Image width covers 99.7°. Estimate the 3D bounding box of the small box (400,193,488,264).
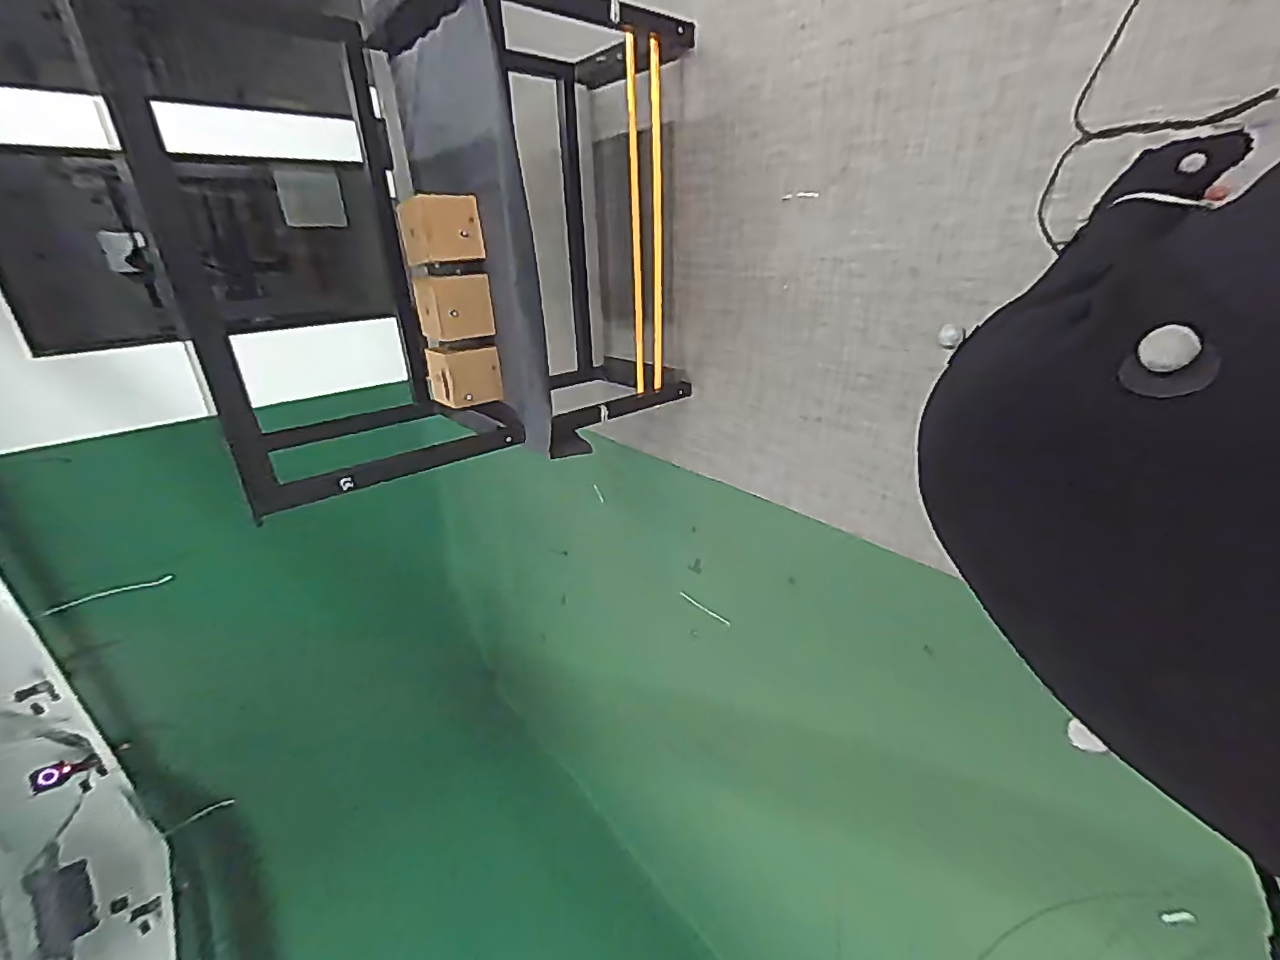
[{"bbox_3d":[-0.562,-0.718,1.556,0.179,0.176,0.168,16,119,47],"label":"small box"}]
